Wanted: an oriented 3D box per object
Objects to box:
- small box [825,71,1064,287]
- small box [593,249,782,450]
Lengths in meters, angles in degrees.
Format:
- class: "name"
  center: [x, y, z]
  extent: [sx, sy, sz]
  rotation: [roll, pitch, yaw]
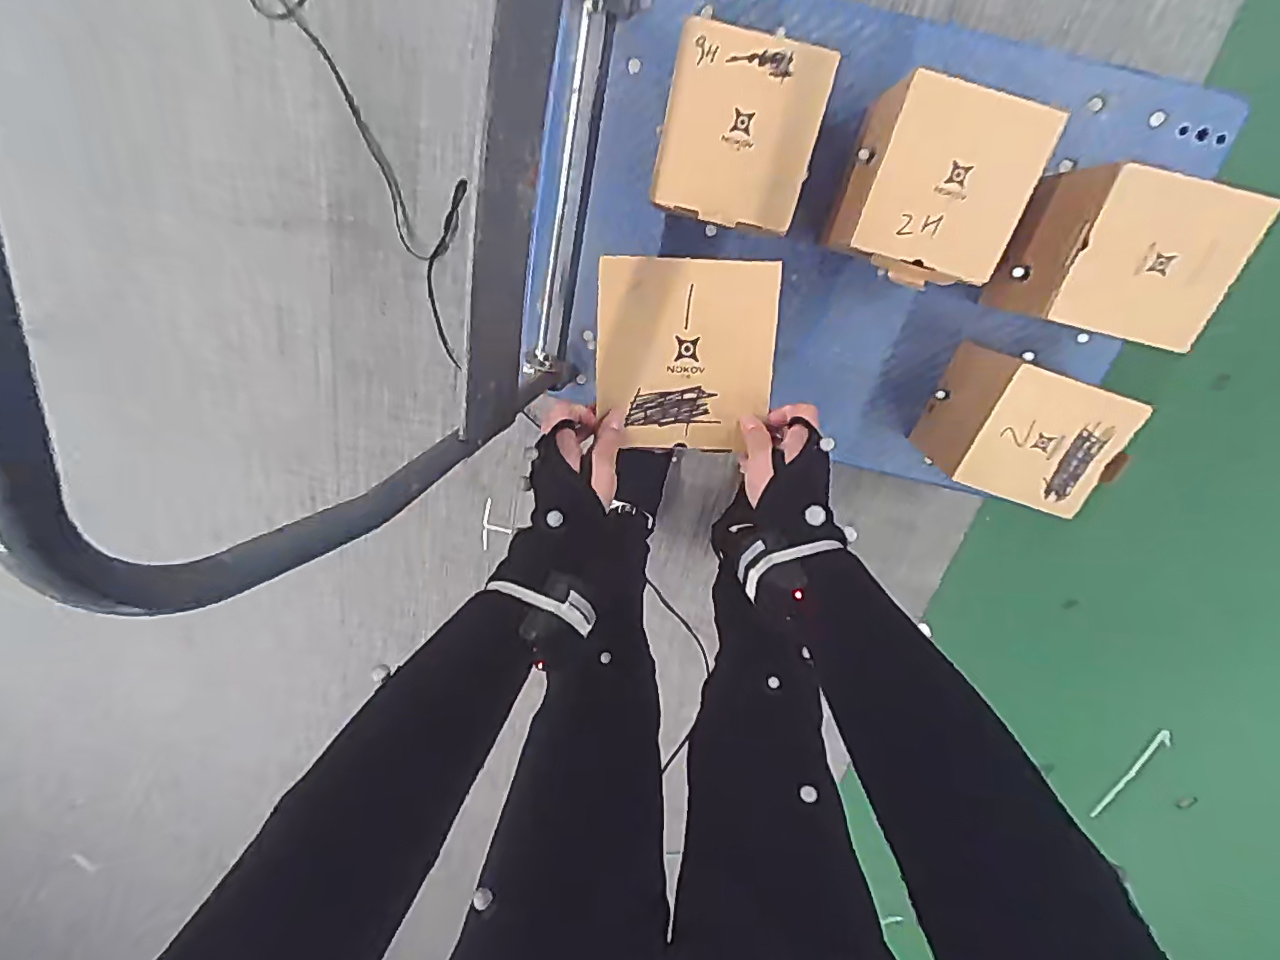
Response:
- class: "small box"
  center: [0.348, -0.353, 0.663]
  extent: [0.168, 0.176, 0.179]
  rotation: [17, 114, -1]
- class: "small box"
  center: [0.043, -0.135, 0.579]
  extent: [0.168, 0.176, 0.179]
  rotation: [3, 102, 0]
